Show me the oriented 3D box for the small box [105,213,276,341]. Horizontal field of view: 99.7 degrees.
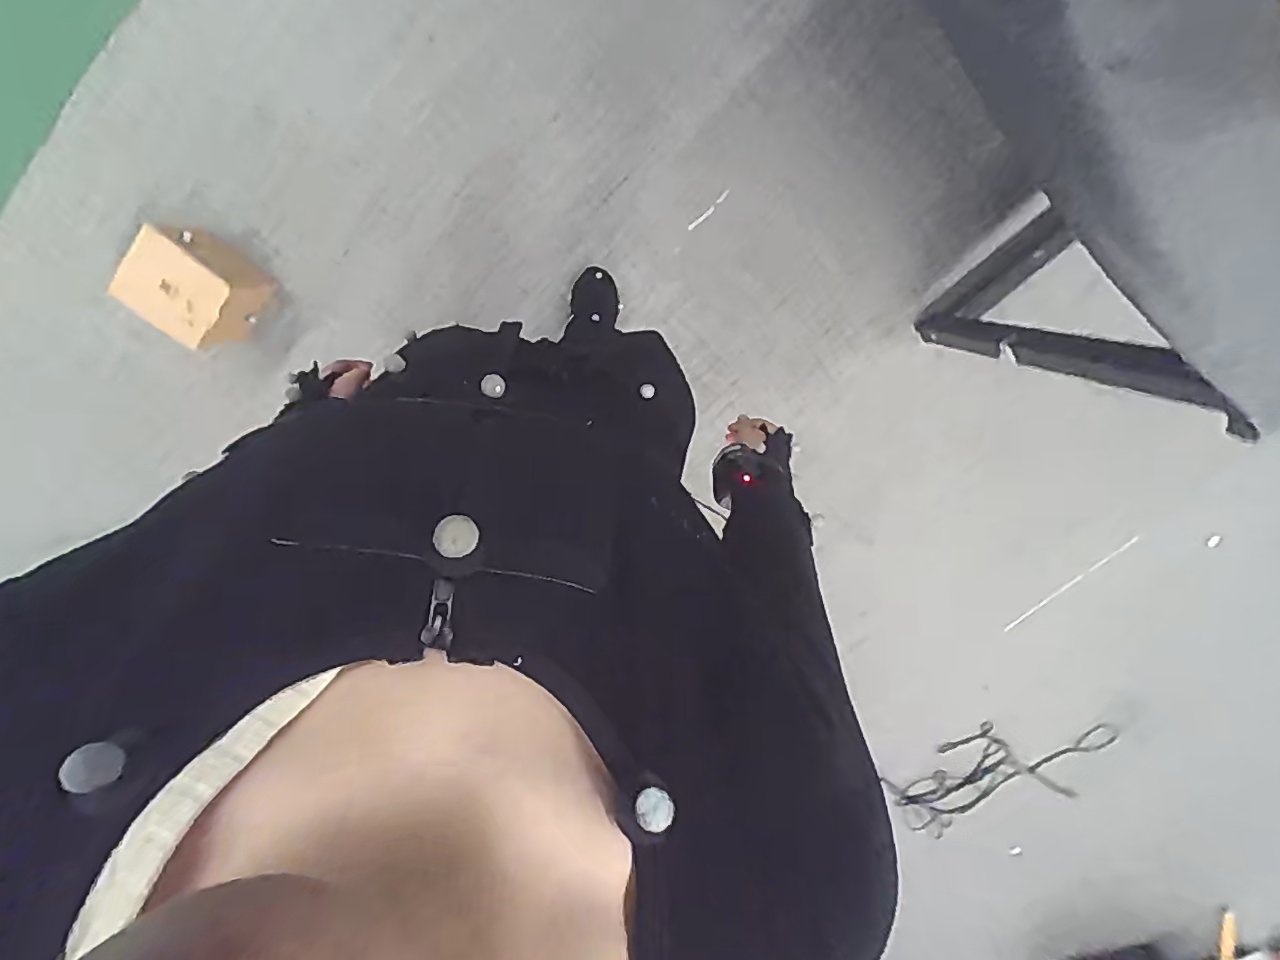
[{"bbox_3d":[-0.907,-0.411,1.108,0.179,0.176,0.168,40,105,-17],"label":"small box"}]
